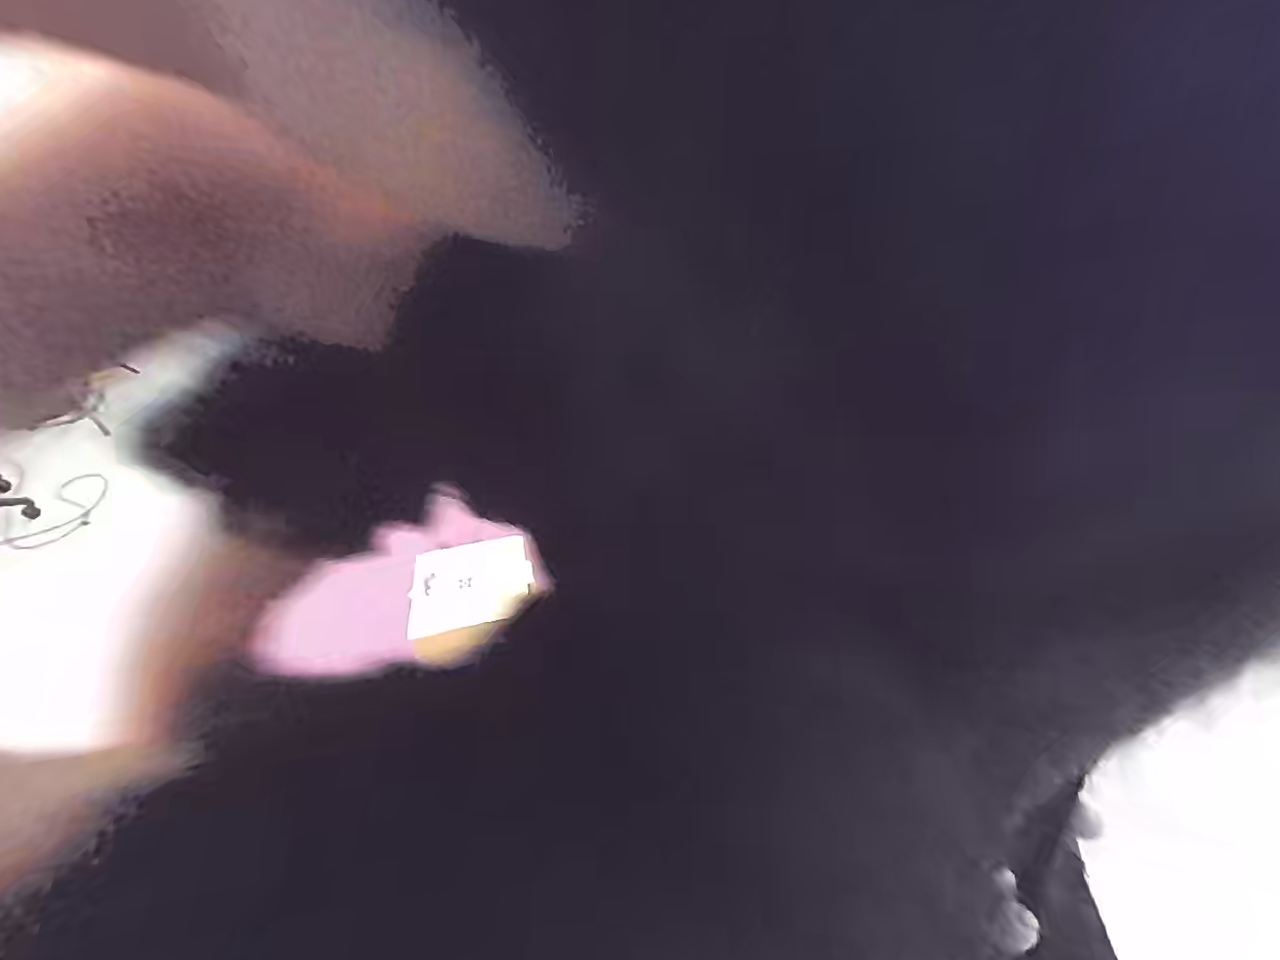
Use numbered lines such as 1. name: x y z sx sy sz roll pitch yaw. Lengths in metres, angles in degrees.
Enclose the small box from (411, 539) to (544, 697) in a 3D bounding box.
1. small box: -0.254 0.224 0.880 0.179 0.176 0.168 -9 39 -10
